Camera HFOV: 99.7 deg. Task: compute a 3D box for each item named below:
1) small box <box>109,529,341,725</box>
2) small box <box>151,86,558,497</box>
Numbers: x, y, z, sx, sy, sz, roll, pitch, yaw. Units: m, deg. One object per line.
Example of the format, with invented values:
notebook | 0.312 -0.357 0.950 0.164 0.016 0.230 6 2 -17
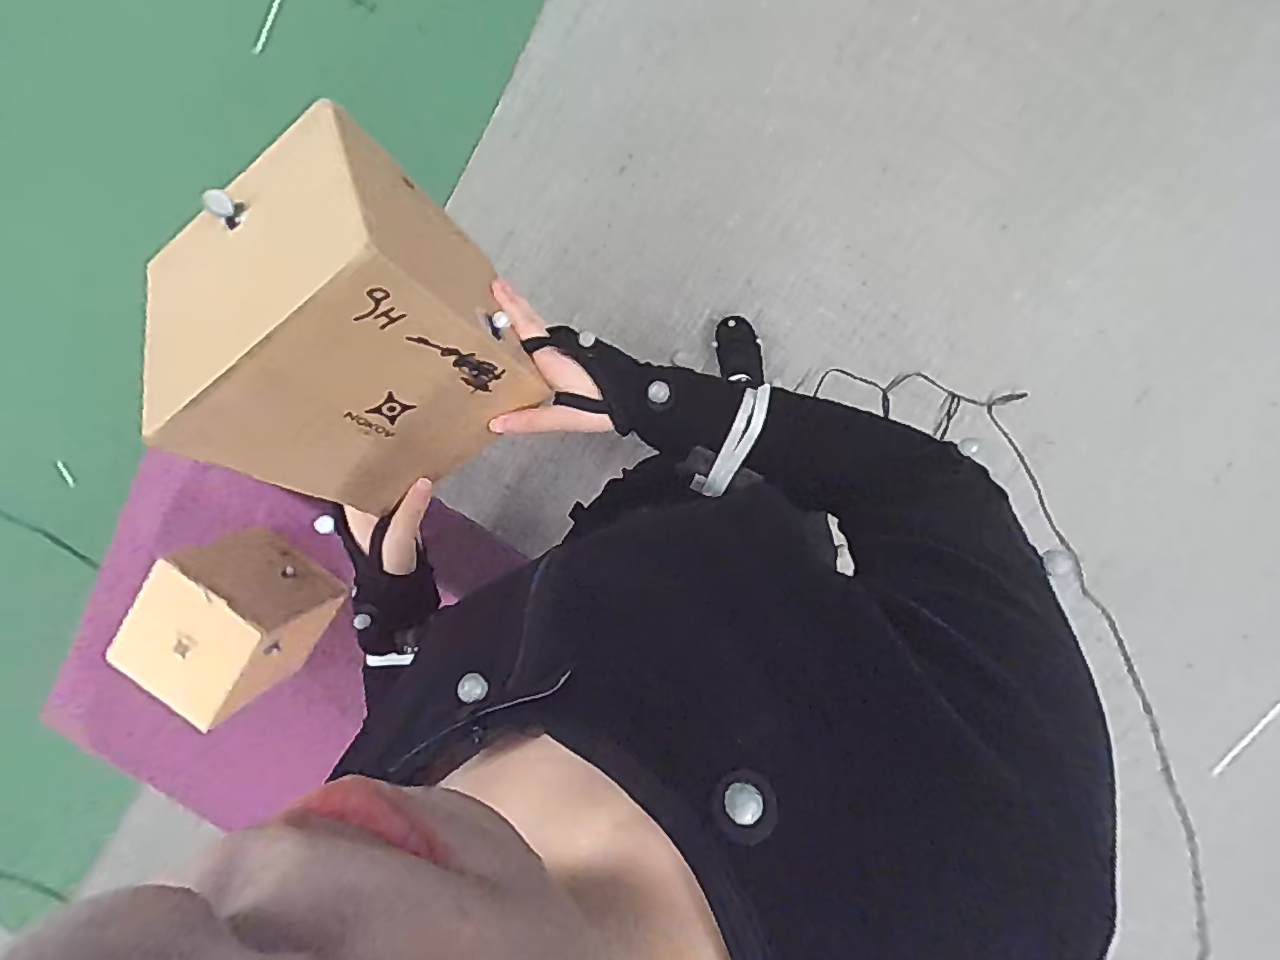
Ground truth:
small box | -0.573 0.195 0.770 0.168 0.176 0.179 36 100 1
small box | -0.191 -0.120 0.384 0.179 0.168 0.176 -31 62 11
